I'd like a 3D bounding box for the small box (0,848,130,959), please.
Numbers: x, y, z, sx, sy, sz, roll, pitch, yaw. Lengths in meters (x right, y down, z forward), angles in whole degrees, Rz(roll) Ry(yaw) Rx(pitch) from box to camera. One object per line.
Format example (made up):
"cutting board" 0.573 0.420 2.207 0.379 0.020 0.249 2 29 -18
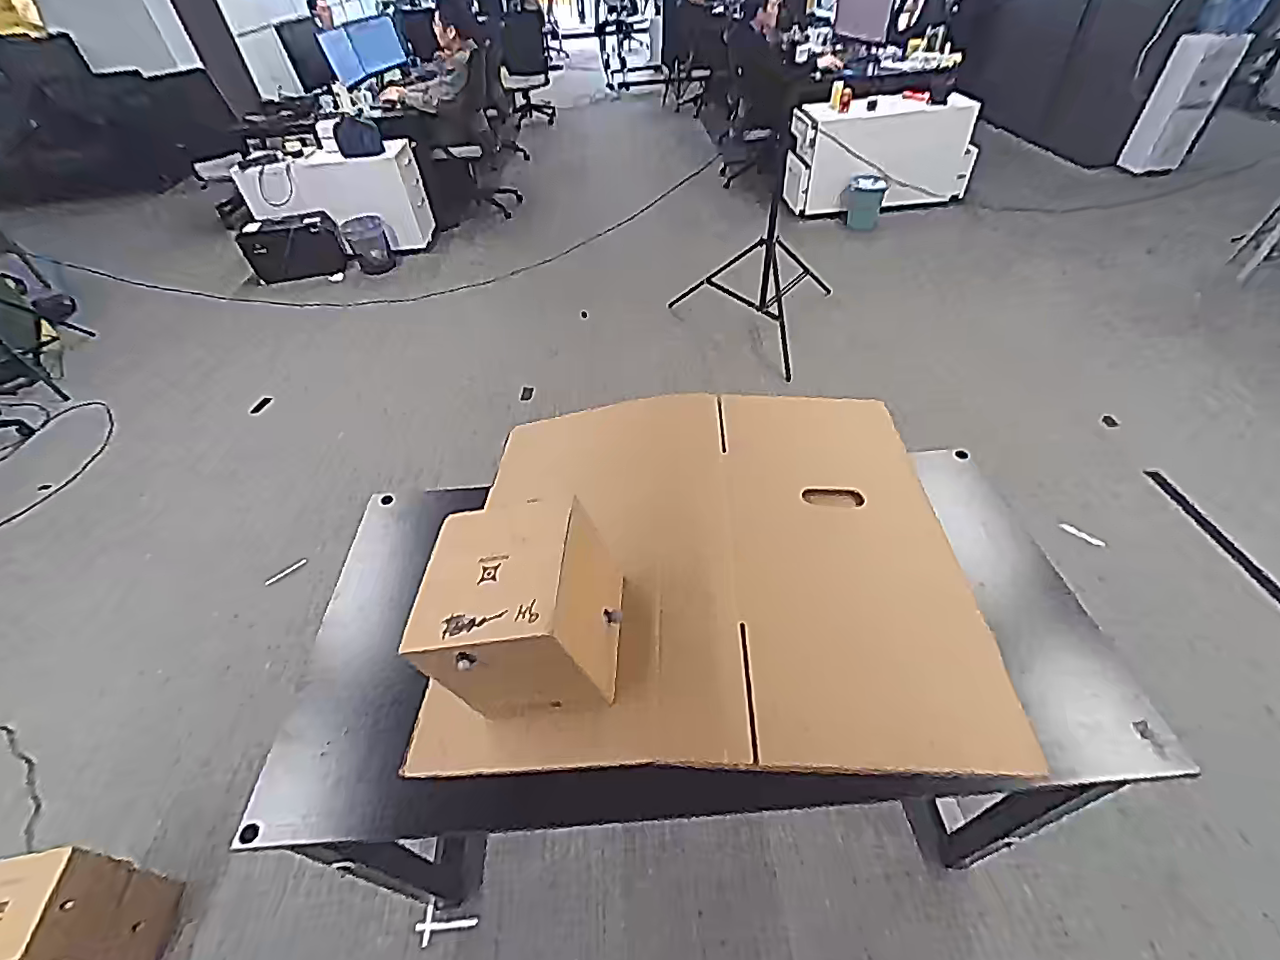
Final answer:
"small box" -1.147 0.838 1.034 0.168 0.176 0.179 -9 45 -5

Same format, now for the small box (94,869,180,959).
"small box" -1.136 0.956 1.145 0.168 0.176 0.179 -8 46 -3

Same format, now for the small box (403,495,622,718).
"small box" -0.125 0.146 0.615 0.168 0.176 0.179 -12 43 14
